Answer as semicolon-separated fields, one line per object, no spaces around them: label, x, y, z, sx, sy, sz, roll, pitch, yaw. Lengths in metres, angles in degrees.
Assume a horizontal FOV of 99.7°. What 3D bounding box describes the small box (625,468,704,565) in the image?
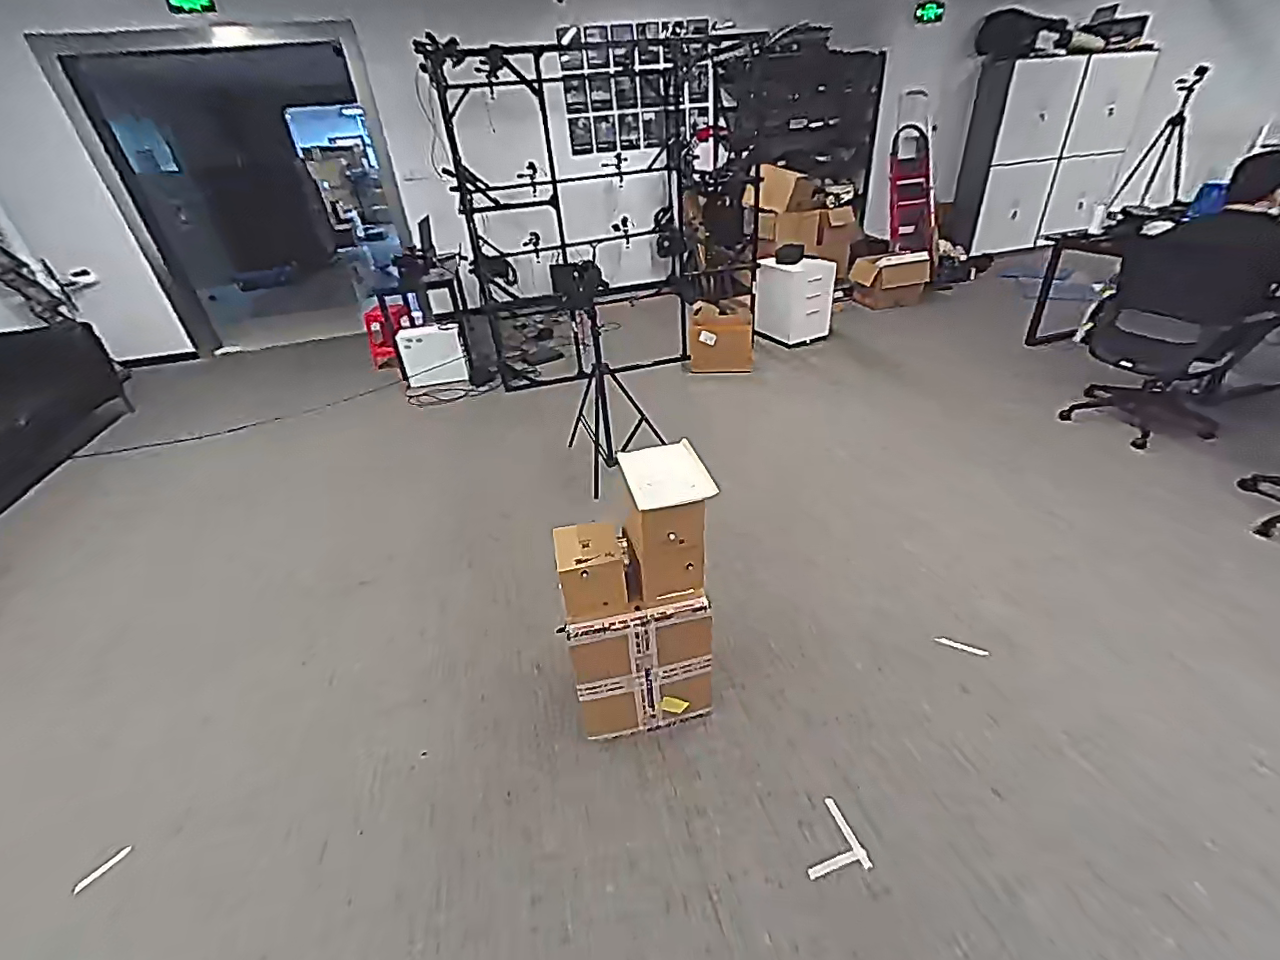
small box;0.058;0.093;1.389;0.168;0.176;0.179;-10;35;-10
